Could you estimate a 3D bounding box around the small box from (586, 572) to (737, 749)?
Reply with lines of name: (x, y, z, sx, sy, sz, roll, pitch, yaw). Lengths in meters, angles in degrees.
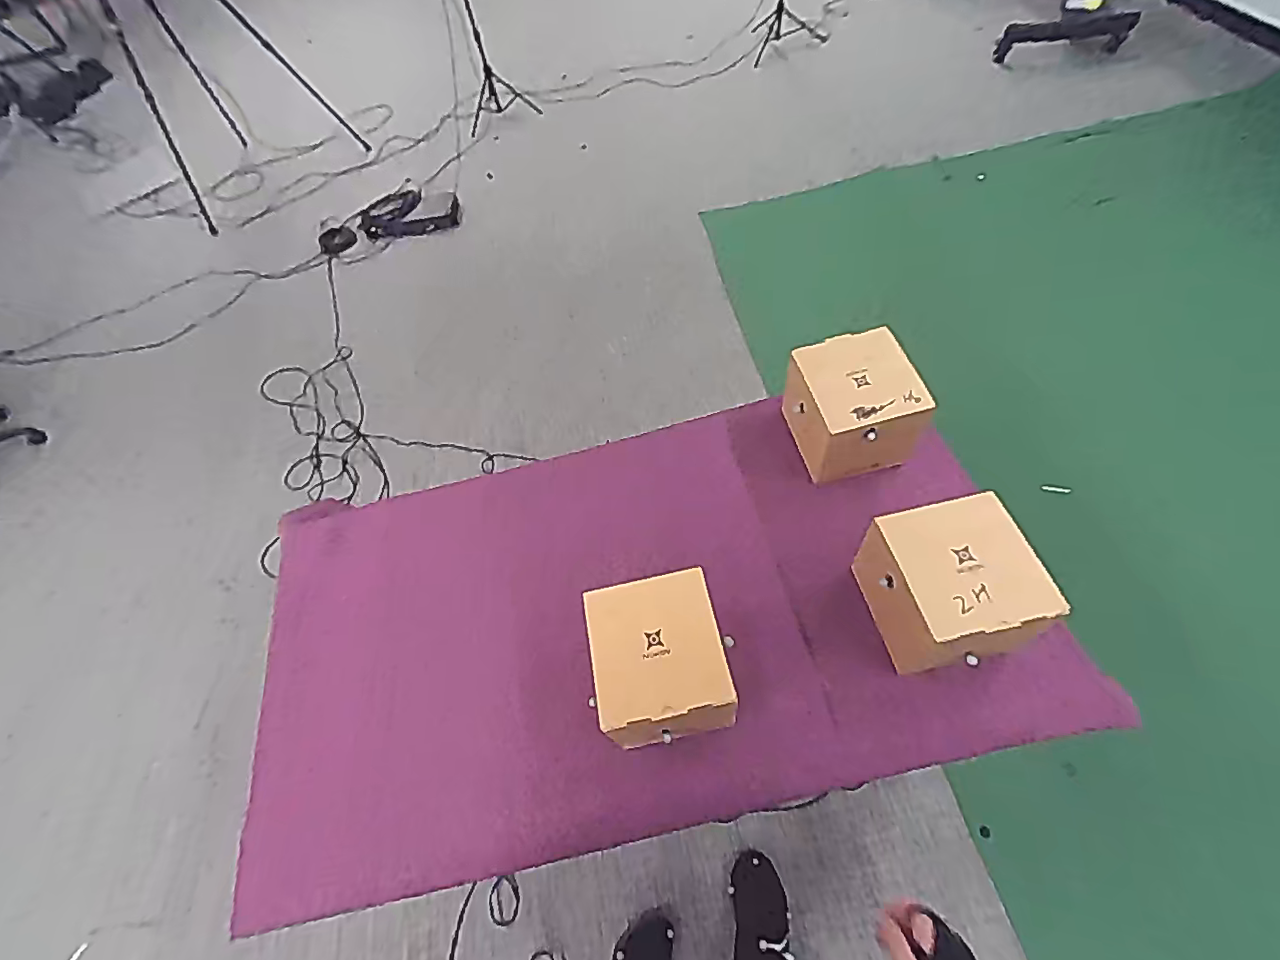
small box: (0.028, 0.253, 0.746, 0.168, 0.176, 0.179, -12, 57, 0)

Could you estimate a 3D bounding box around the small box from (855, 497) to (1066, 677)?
small box: (0.419, 0.152, 0.749, 0.168, 0.176, 0.179, -13, 57, 1)

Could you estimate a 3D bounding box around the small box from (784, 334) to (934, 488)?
small box: (0.355, -0.112, 0.920, 0.168, 0.176, 0.179, -15, 59, 1)
